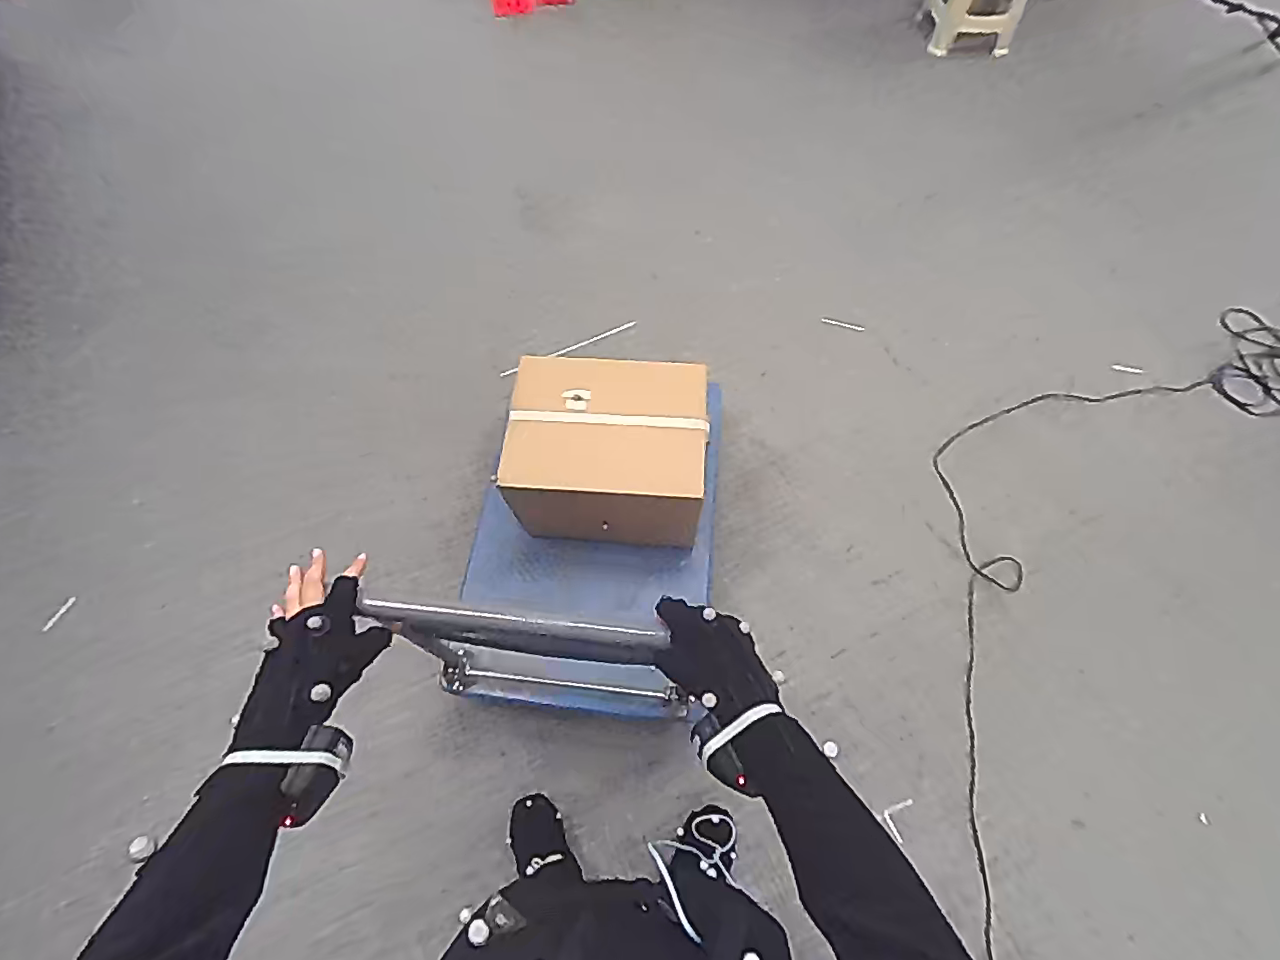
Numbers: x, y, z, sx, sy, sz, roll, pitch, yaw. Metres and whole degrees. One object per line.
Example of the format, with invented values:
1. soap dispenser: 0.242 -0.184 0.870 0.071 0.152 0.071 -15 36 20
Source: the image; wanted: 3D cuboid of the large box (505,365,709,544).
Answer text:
1. large box: -0.054 -0.047 1.242 0.408 0.320 0.320 2 65 3
